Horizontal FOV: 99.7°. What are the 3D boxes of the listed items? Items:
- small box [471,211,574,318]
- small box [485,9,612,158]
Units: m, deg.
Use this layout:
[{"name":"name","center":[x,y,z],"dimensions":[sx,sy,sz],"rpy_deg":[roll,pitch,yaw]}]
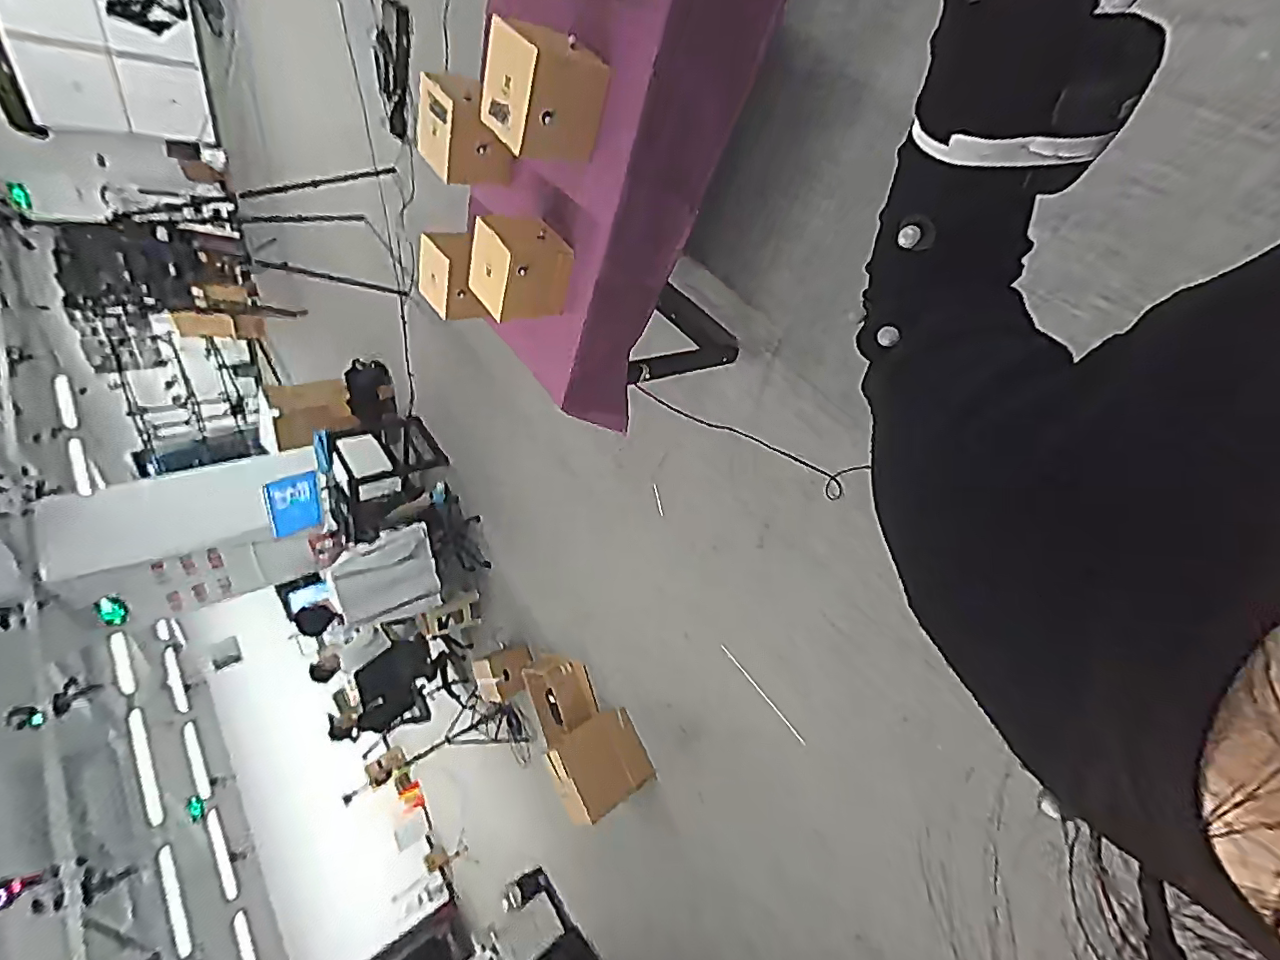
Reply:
[{"name":"small box","center":[-0.278,-0.508,1.279],"dimensions":[0.168,0.176,0.179],"rpy_deg":[51,137,24]},{"name":"small box","center":[-0.178,-0.756,1.049],"dimensions":[0.168,0.176,0.179],"rpy_deg":[52,138,23]}]
